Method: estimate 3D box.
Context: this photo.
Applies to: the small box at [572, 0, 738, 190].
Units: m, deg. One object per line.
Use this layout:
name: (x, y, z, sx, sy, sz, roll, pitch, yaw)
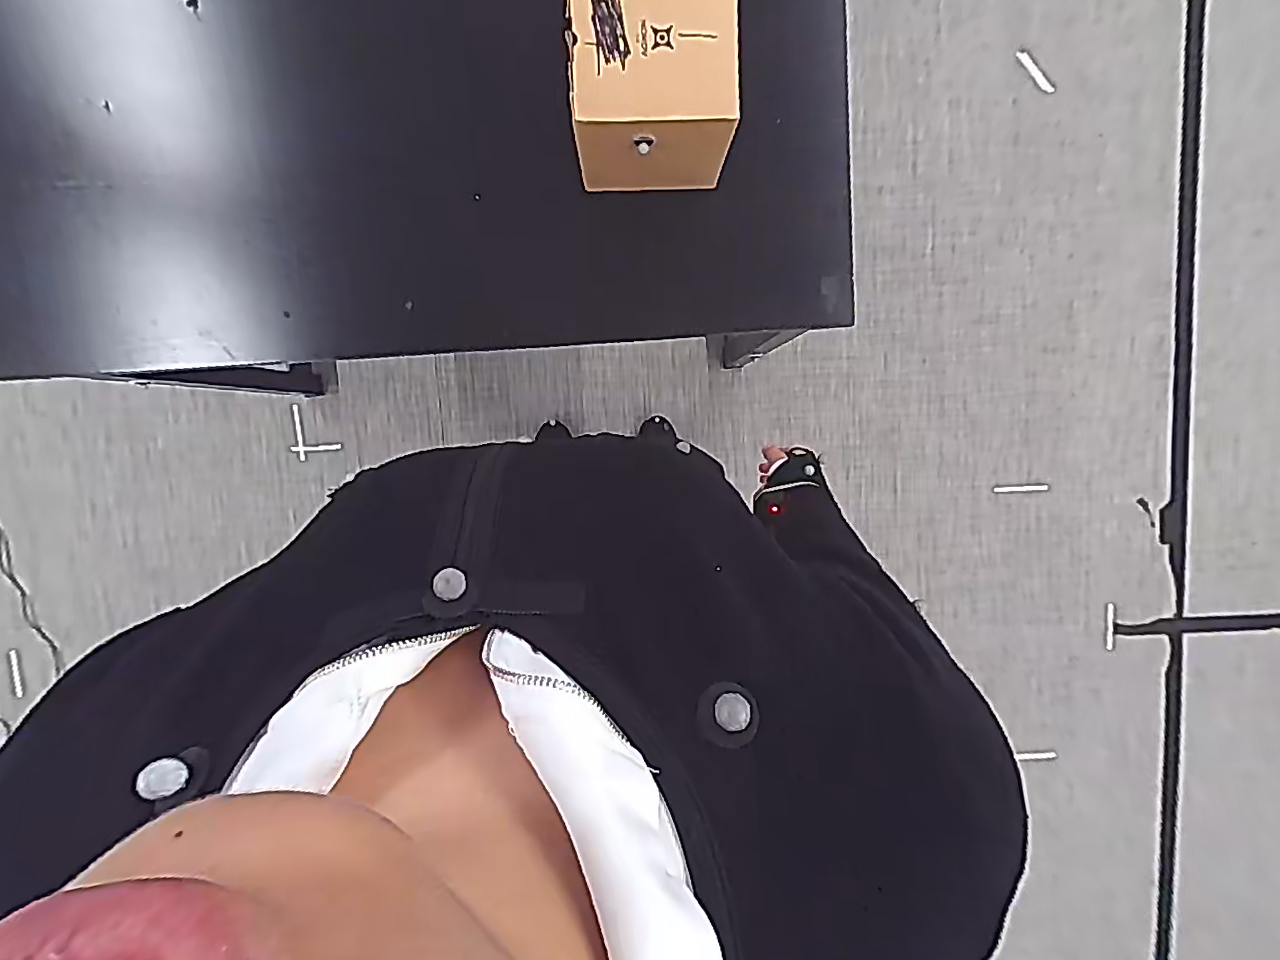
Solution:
small box: (0.016, -0.467, 0.647, 0.179, 0.176, 0.168, -1, 95, -1)
